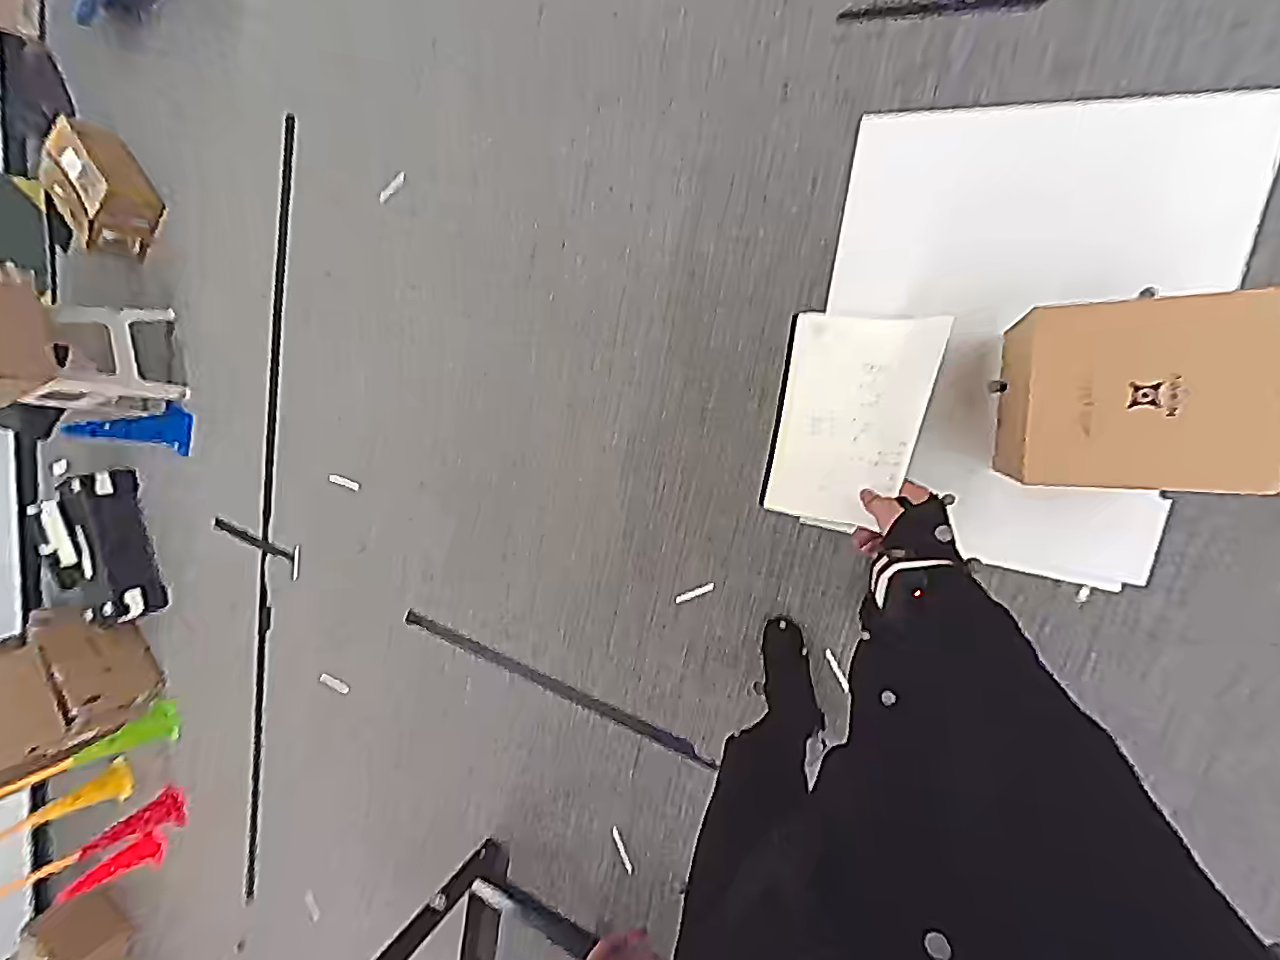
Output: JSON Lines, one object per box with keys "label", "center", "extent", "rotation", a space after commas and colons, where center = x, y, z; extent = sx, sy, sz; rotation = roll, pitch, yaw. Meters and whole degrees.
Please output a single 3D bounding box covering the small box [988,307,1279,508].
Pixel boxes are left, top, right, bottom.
{"label": "small box", "center": [0.469, -0.069, 0.540], "extent": [0.179, 0.176, 0.168], "rotation": [3, 96, 24]}
